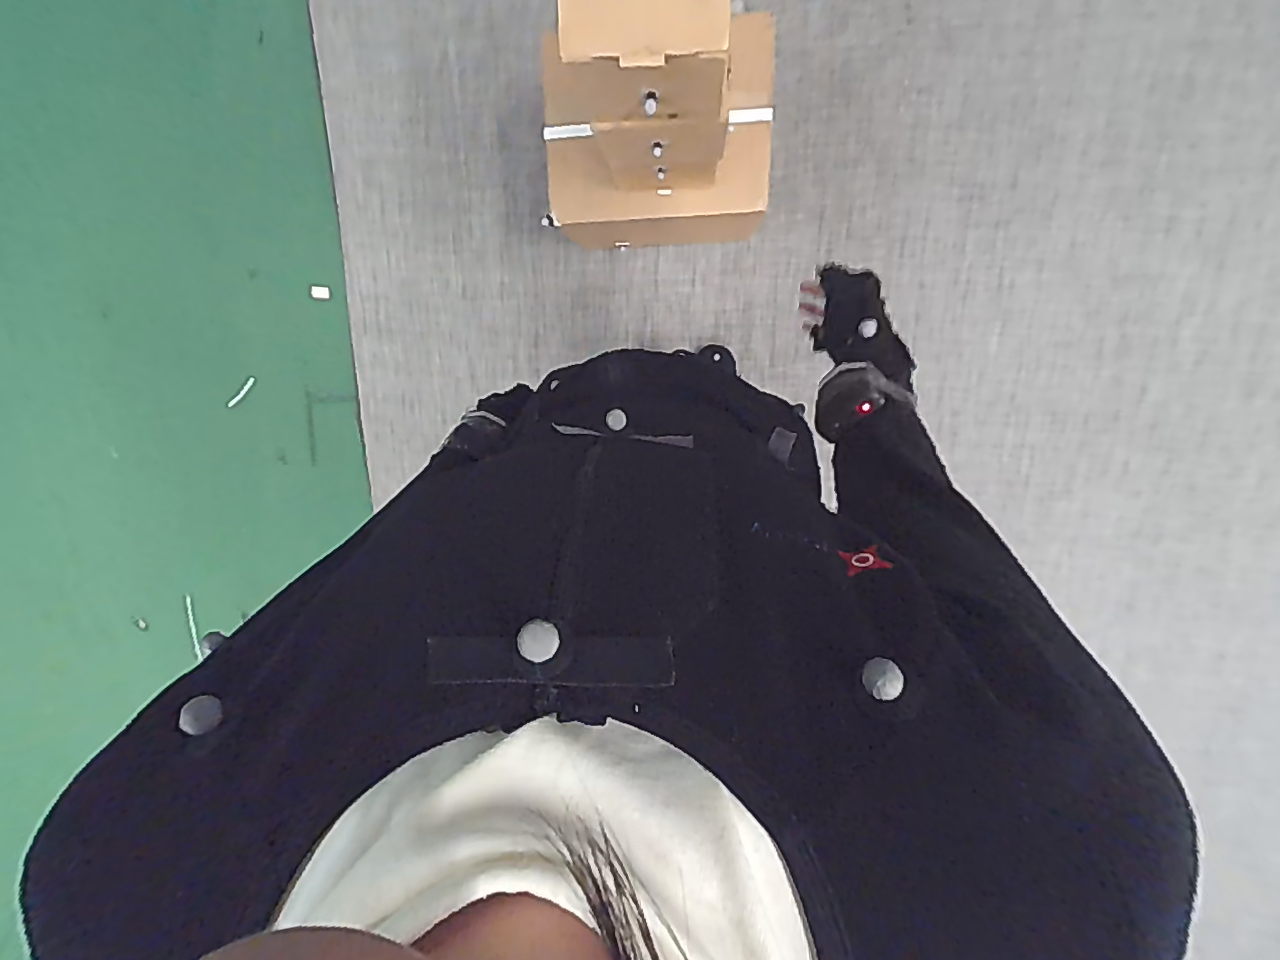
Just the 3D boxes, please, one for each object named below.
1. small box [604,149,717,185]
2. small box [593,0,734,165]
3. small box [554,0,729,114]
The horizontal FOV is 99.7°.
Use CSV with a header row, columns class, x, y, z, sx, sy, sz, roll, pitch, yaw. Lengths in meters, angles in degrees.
class,x,y,z,sx,sy,sz,roll,pitch,yaw
small box,0.039,-0.594,0.886,0.179,0.176,0.168,1,106,5
small box,0.029,-0.545,0.730,0.179,0.176,0.168,-3,106,6
small box,0.010,-0.510,0.571,0.168,0.176,0.179,3,107,6
